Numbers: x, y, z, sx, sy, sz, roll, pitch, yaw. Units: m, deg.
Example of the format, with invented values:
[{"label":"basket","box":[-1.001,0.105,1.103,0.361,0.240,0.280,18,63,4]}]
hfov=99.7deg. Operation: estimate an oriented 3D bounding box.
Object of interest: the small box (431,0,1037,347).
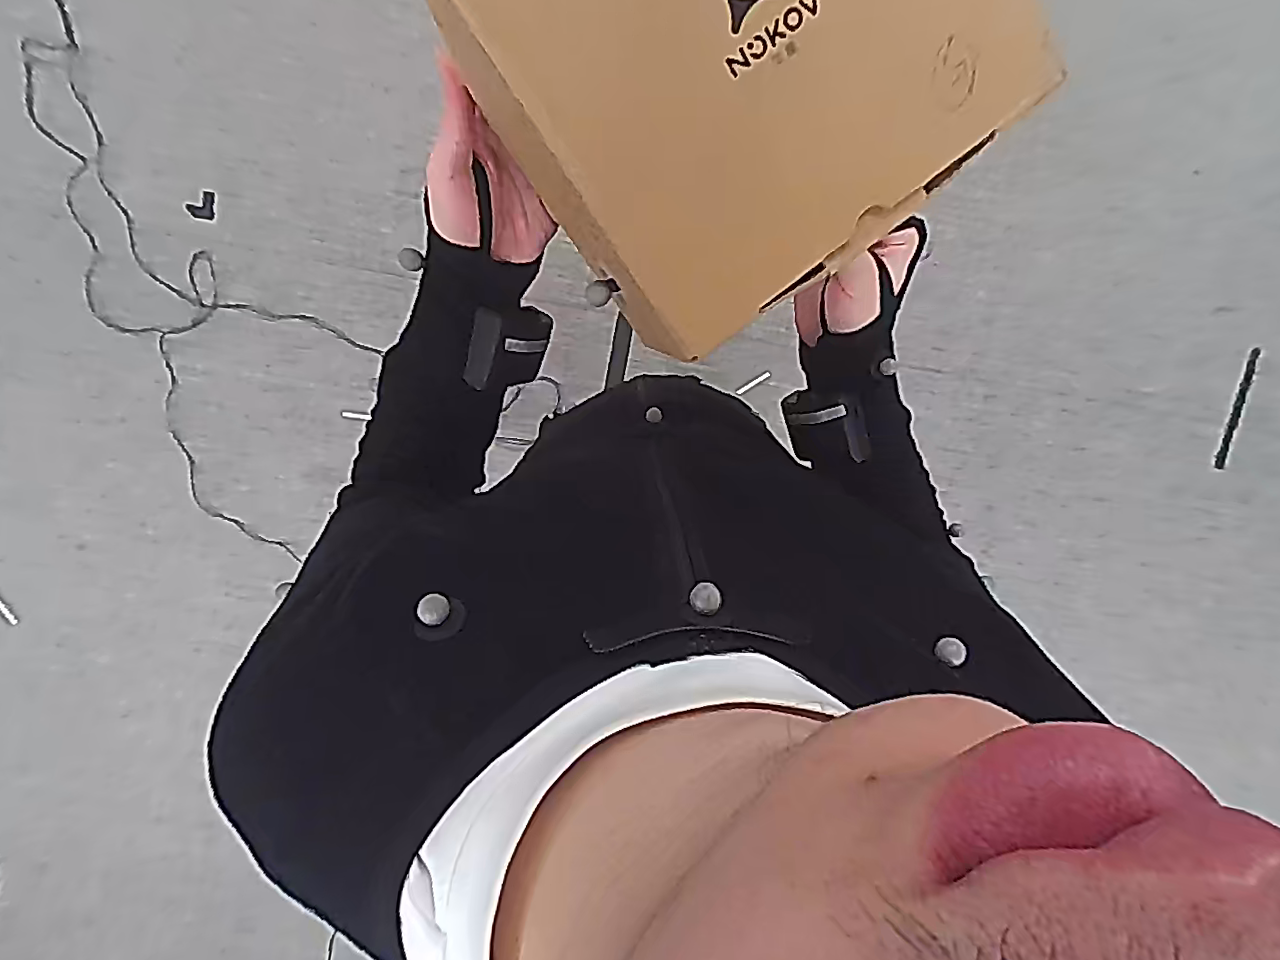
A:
[{"label":"small box","box":[0.027,-0.187,0.264,0.168,0.176,0.179,-38,105,4]}]
